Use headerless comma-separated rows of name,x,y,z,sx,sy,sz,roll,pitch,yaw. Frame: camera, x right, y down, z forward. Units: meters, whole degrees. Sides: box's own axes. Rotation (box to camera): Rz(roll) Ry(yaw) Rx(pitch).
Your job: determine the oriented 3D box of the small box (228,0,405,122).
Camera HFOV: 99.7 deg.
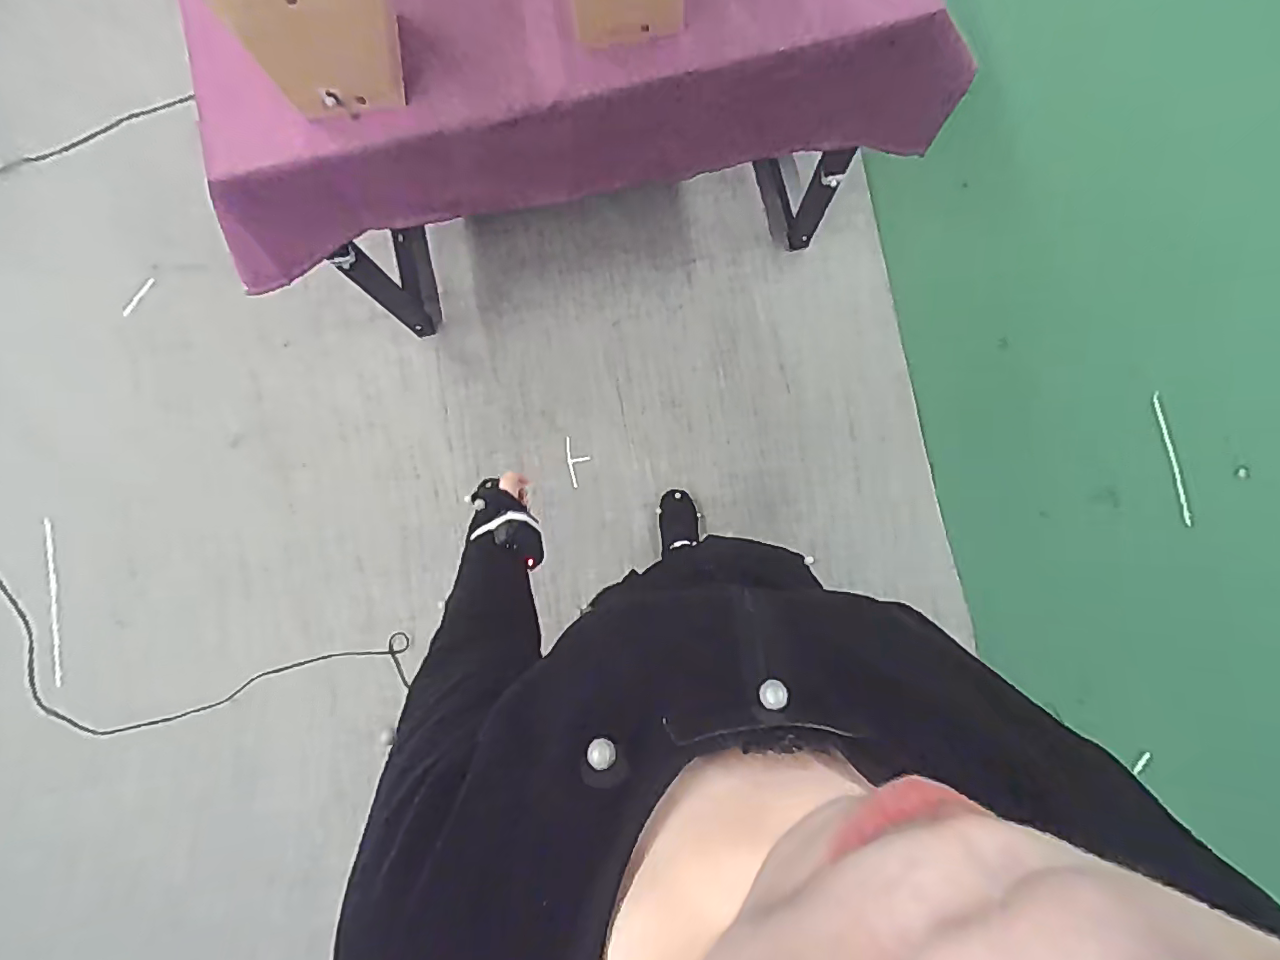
small box,-0.470,-0.681,0.802,0.168,0.176,0.179,-8,84,2
